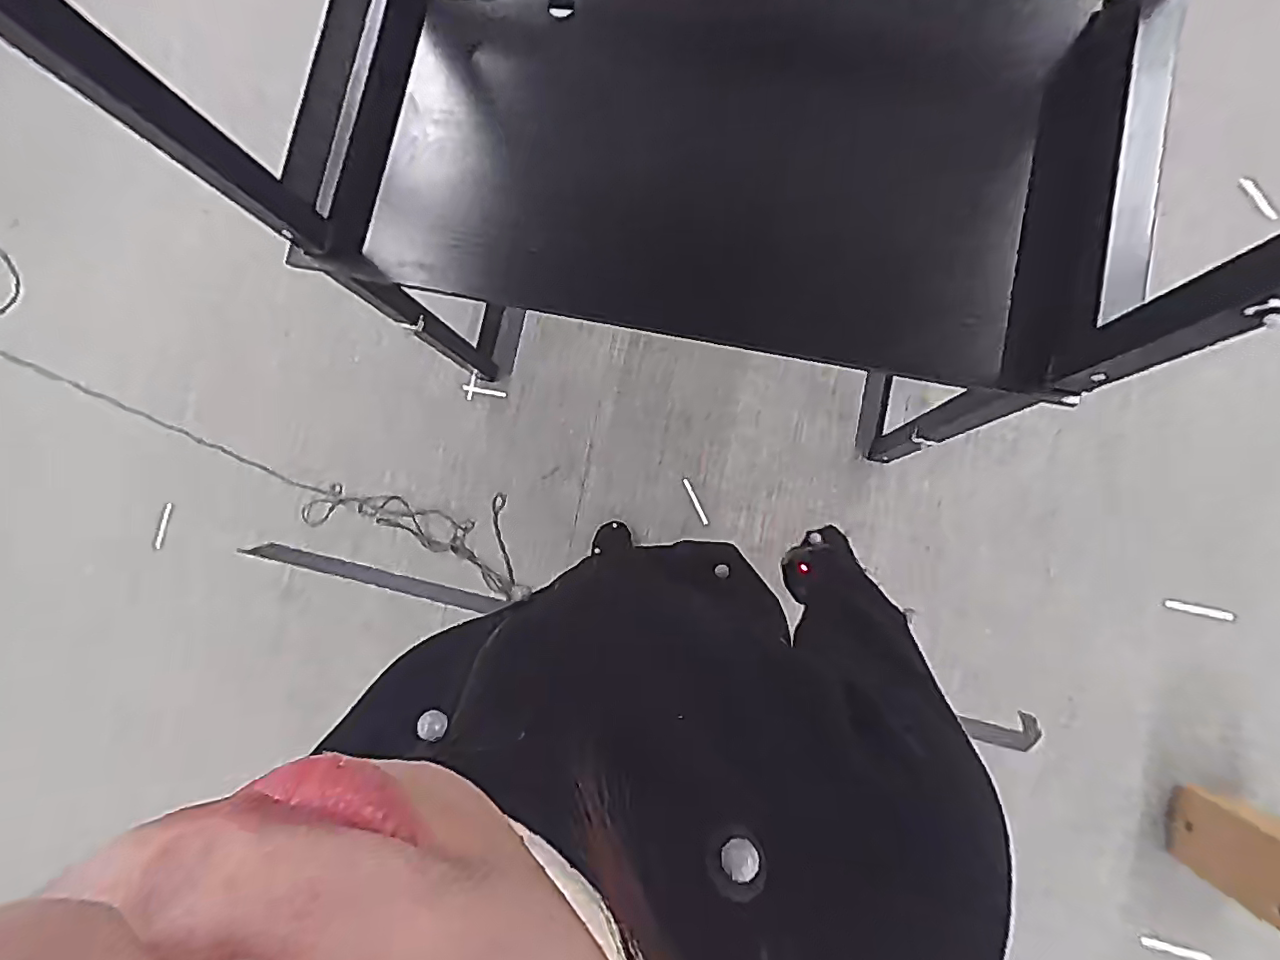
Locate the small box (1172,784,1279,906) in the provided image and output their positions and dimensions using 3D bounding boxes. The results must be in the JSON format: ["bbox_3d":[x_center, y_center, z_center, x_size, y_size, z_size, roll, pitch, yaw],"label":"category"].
[{"bbox_3d":[1.353,0.824,1.207,0.168,0.176,0.179,11,87,7],"label":"small box"}]

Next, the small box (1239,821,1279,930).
[{"bbox_3d":[1.332,0.808,1.045,0.168,0.176,0.179,9,86,7],"label":"small box"}]
